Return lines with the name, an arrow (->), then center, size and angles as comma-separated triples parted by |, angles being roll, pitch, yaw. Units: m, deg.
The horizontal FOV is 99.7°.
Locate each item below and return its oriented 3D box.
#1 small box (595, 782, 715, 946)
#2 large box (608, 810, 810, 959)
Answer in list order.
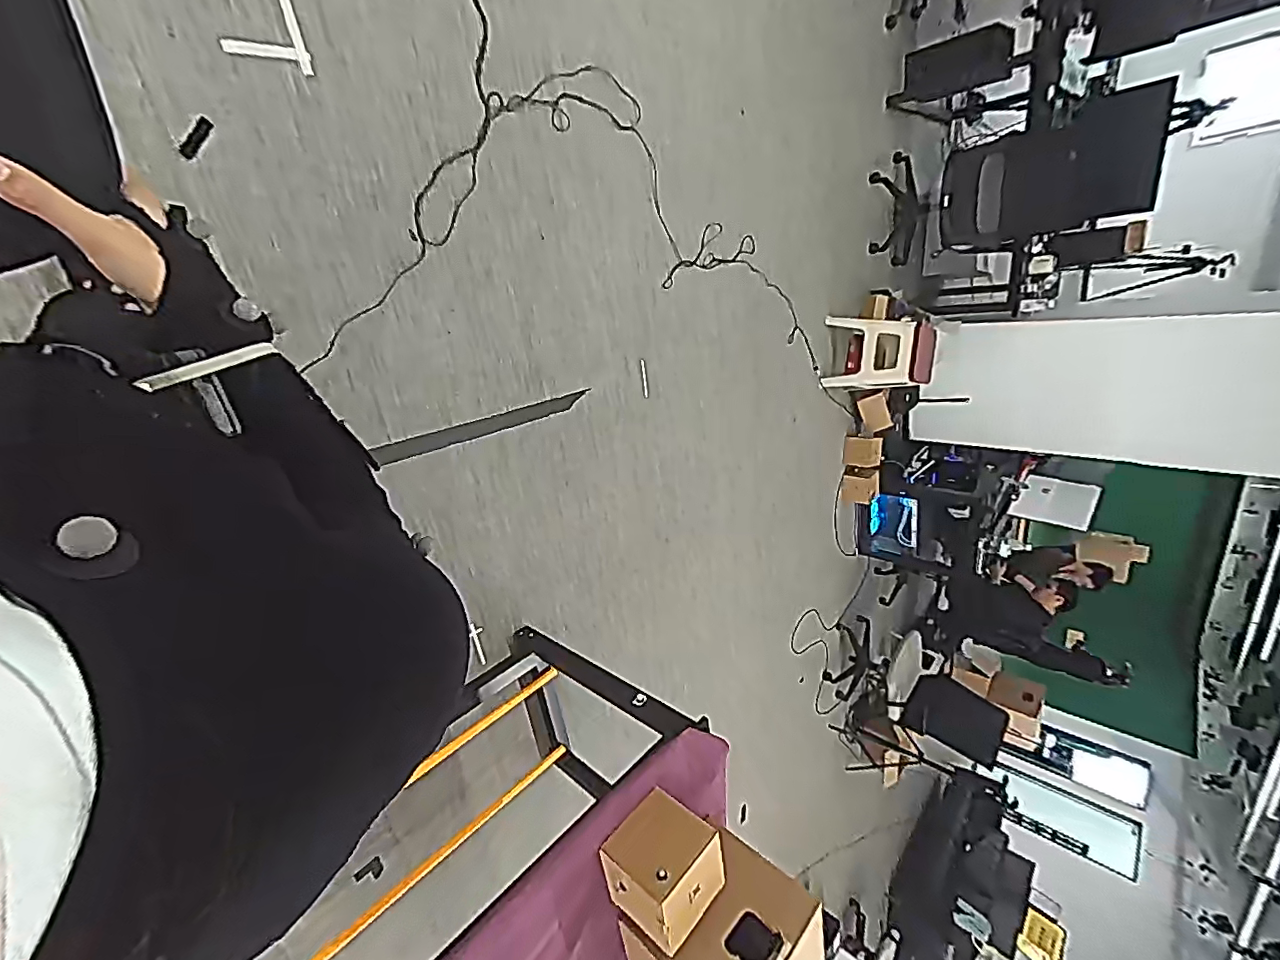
small box -> 0.033, 0.770, 1.107 | 0.179, 0.176, 0.168 | -29, 120, -39
large box -> 0.166, 1.072, 1.217 | 0.320, 0.320, 0.408 | -27, 116, -39
